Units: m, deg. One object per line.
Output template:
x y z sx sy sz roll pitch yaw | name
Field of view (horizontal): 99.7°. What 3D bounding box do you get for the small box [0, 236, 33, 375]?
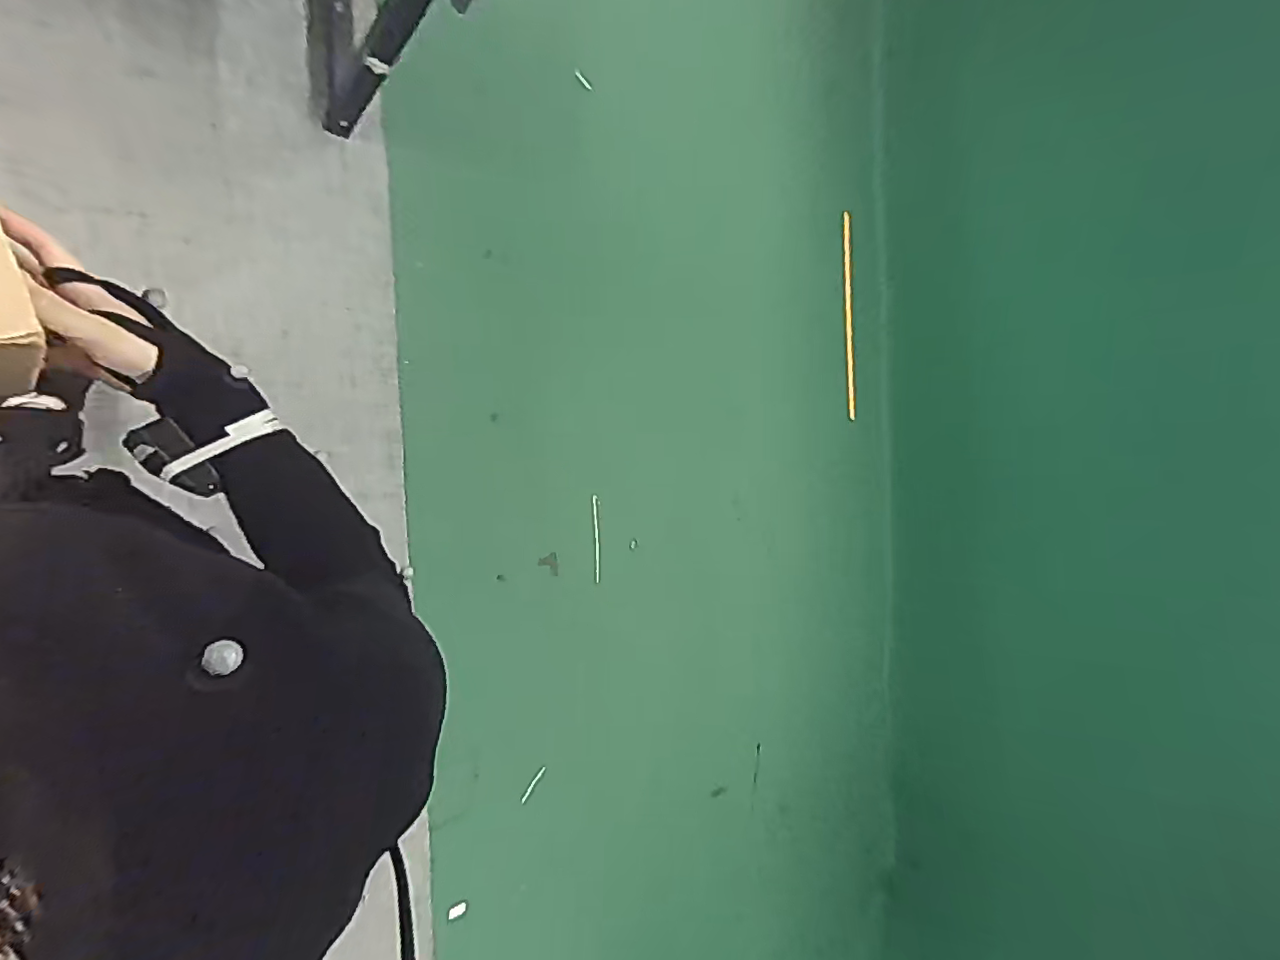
-0.441 -0.136 0.253 0.168 0.176 0.179 -24 107 -50 | small box
